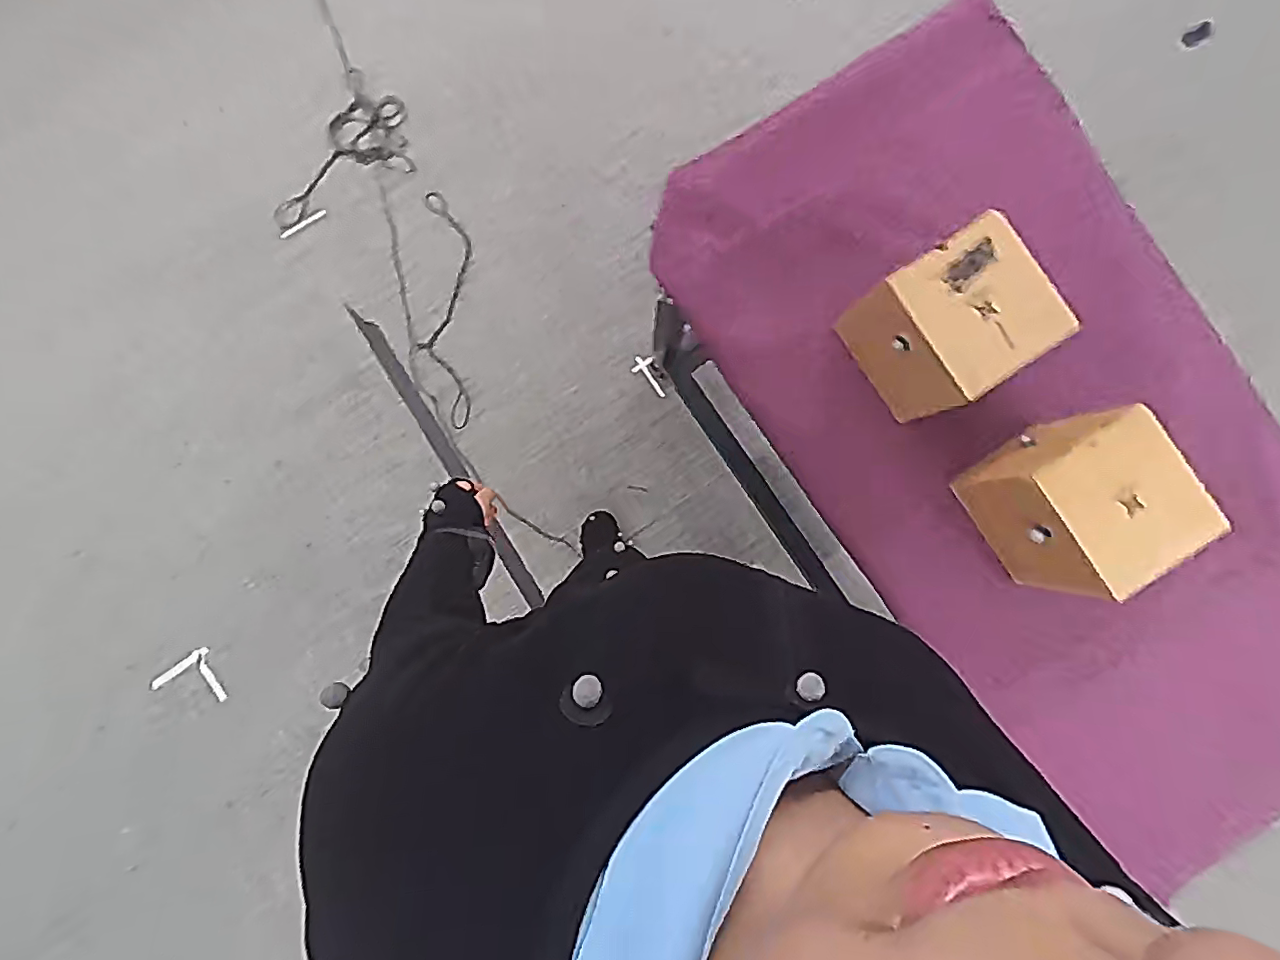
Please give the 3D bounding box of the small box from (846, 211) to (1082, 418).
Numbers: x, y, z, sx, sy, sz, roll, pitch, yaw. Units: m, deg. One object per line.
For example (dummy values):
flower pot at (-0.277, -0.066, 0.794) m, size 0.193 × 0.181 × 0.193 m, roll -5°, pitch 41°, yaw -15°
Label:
small box at (0.409, -0.204, 0.719) m, size 0.168 × 0.176 × 0.179 m, roll -33°, pitch 88°, yaw -2°

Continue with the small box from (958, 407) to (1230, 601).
small box at (0.572, 0.030, 0.708) m, size 0.168 × 0.176 × 0.179 m, roll -32°, pitch 87°, yaw -2°
